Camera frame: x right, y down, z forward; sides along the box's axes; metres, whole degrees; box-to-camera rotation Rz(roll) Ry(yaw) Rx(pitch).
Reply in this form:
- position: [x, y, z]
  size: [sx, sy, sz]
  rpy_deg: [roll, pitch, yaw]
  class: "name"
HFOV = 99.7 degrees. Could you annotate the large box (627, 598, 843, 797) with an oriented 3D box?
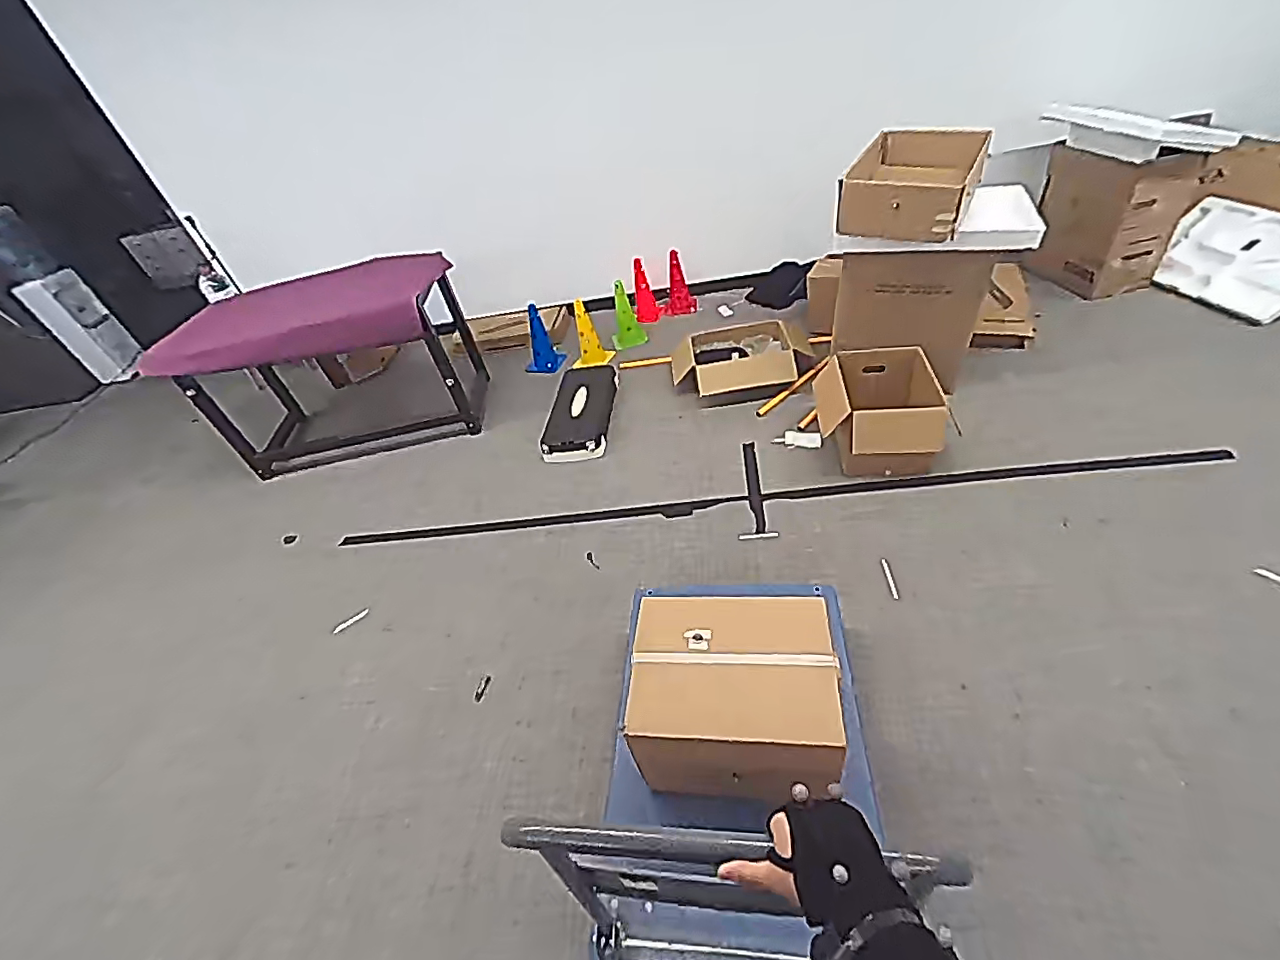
- position: [0.211, 0.485, 1.204]
  size: [0.408, 0.320, 0.320]
  rpy_deg: [-4, 41, 12]
  class: "large box"
